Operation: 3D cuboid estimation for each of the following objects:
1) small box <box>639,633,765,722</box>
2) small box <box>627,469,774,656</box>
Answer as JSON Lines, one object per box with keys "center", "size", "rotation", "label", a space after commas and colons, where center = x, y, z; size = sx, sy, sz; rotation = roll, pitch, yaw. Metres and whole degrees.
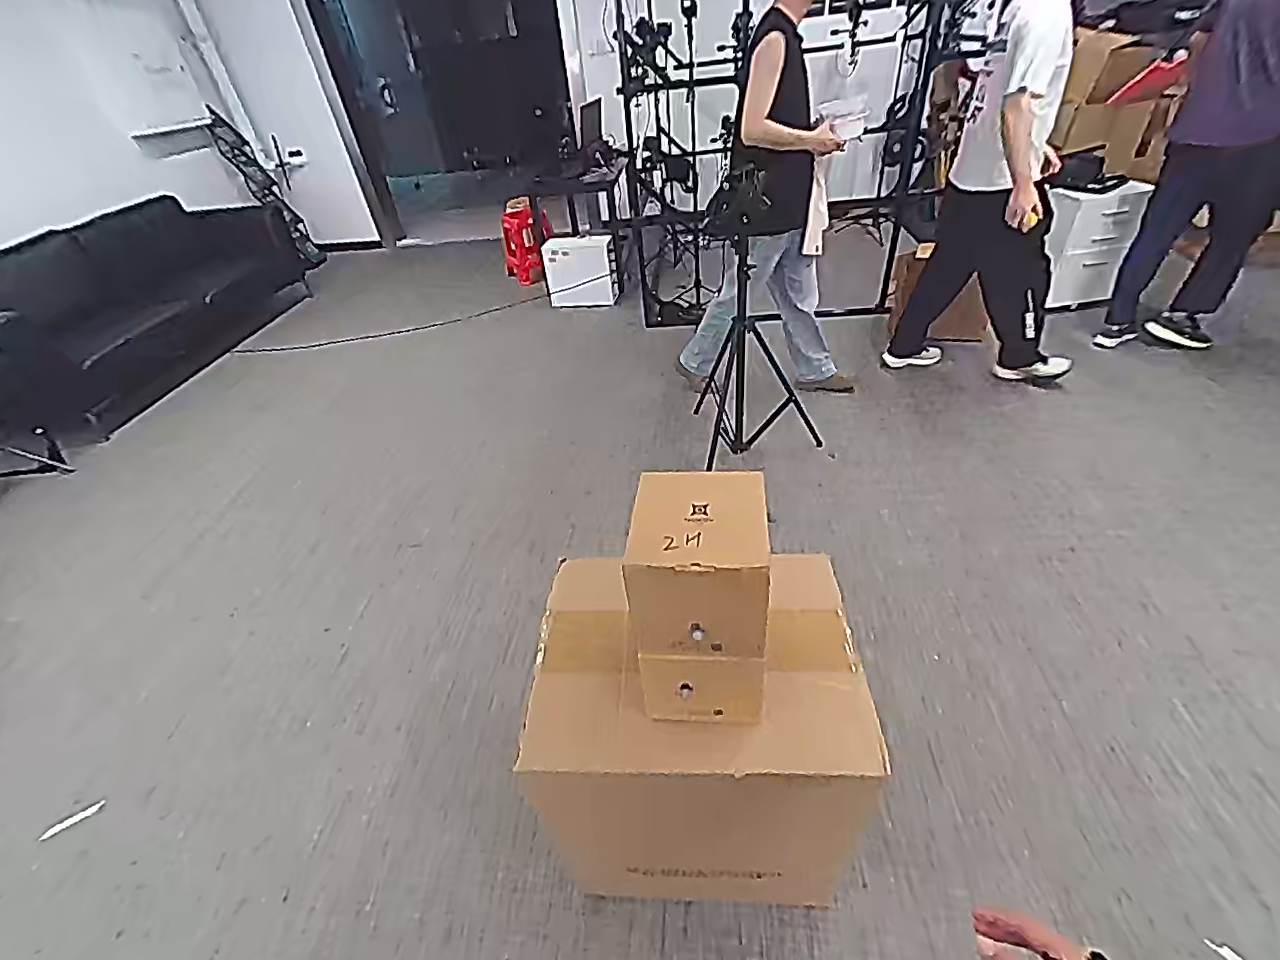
{"center": [0.096, 0.236, 0.803], "size": [0.168, 0.176, 0.179], "rotation": [-1, 38, 8], "label": "small box"}
{"center": [0.084, 0.103, 0.706], "size": [0.168, 0.176, 0.179], "rotation": [0, 38, 10], "label": "small box"}
